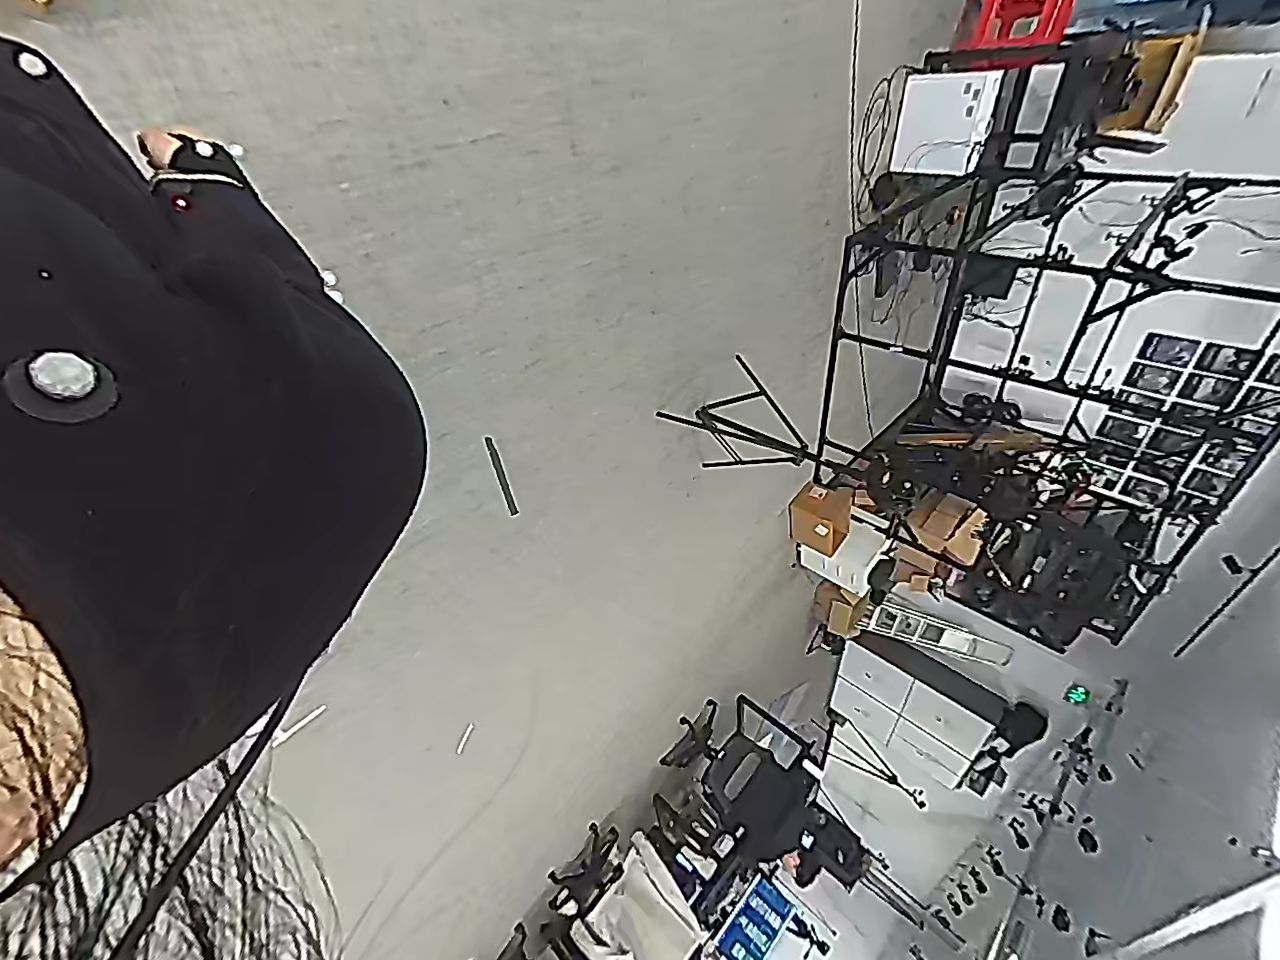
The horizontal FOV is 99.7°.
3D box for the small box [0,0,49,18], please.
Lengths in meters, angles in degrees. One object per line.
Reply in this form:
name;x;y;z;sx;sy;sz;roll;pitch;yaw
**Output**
small box;-0.928;-0.811;0.769;0.168;0.176;0.179;32;85;-55
